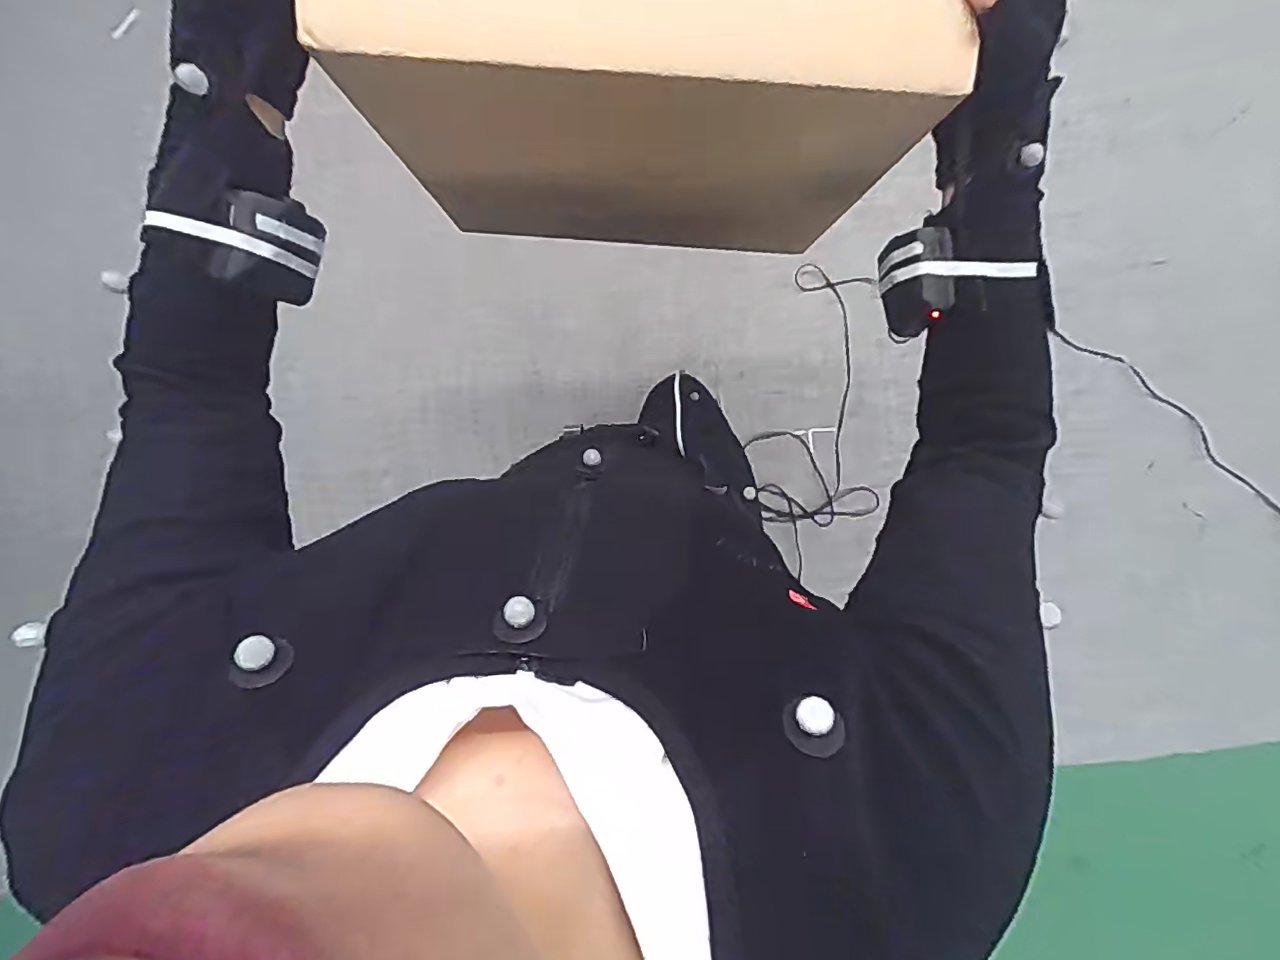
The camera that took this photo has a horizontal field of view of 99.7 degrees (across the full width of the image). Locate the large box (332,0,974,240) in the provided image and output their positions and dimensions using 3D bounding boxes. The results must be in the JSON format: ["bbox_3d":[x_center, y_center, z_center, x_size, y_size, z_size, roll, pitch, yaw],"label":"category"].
[{"bbox_3d":[0.009,-0.425,0.468,0.408,0.320,0.320,3,96,-3],"label":"large box"}]
